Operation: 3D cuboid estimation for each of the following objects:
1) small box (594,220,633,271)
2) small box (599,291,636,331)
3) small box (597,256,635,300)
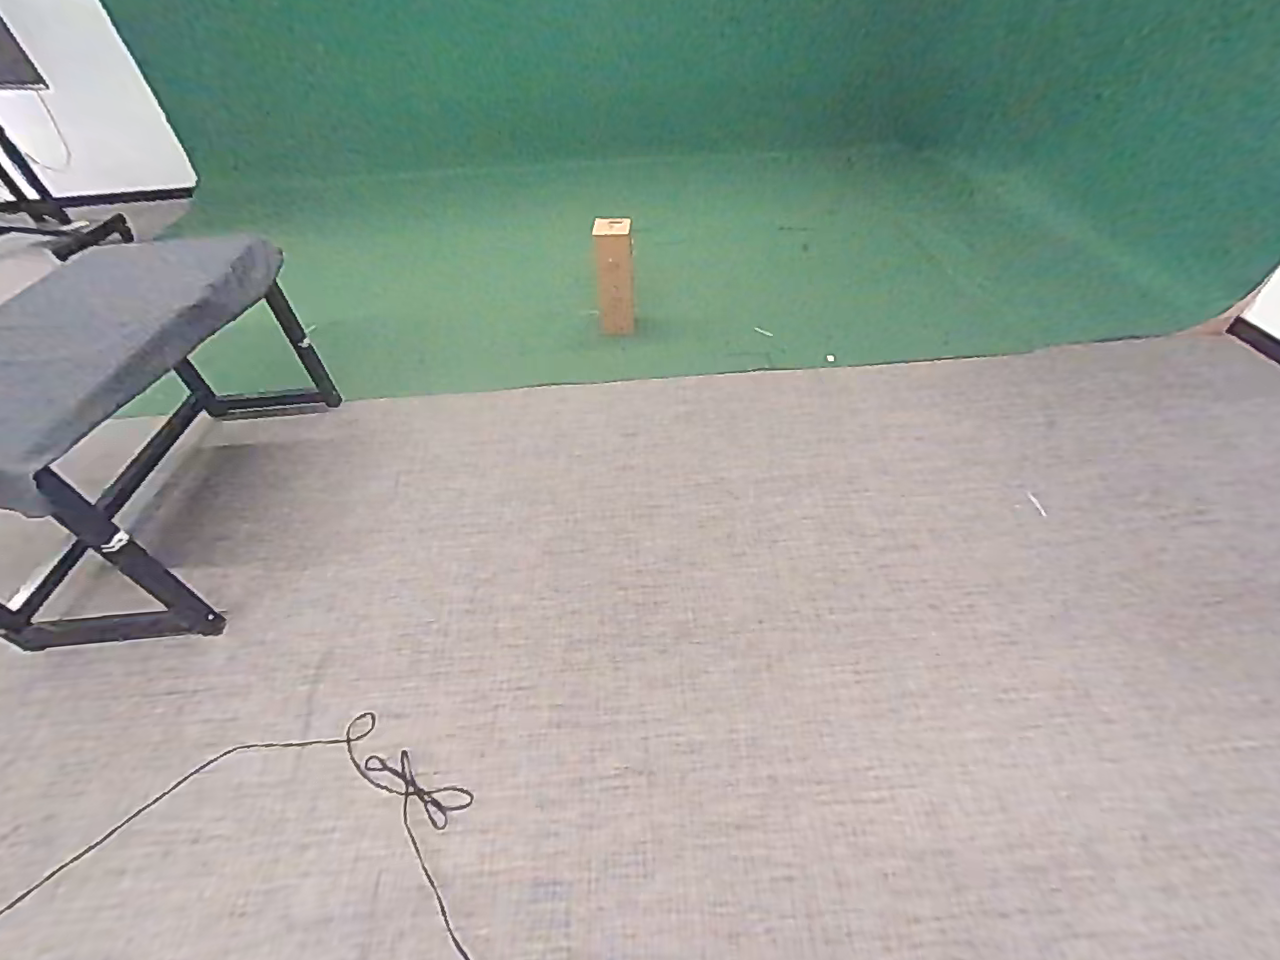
[{"bbox_3d":[-0.119,-1.090,2.515,0.168,0.176,0.179,1,47,3],"label":"small box"},{"bbox_3d":[-0.109,-0.867,2.729,0.168,0.176,0.179,2,45,2],"label":"small box"},{"bbox_3d":[-0.112,-0.974,2.633,0.168,0.176,0.179,1,47,3],"label":"small box"}]
